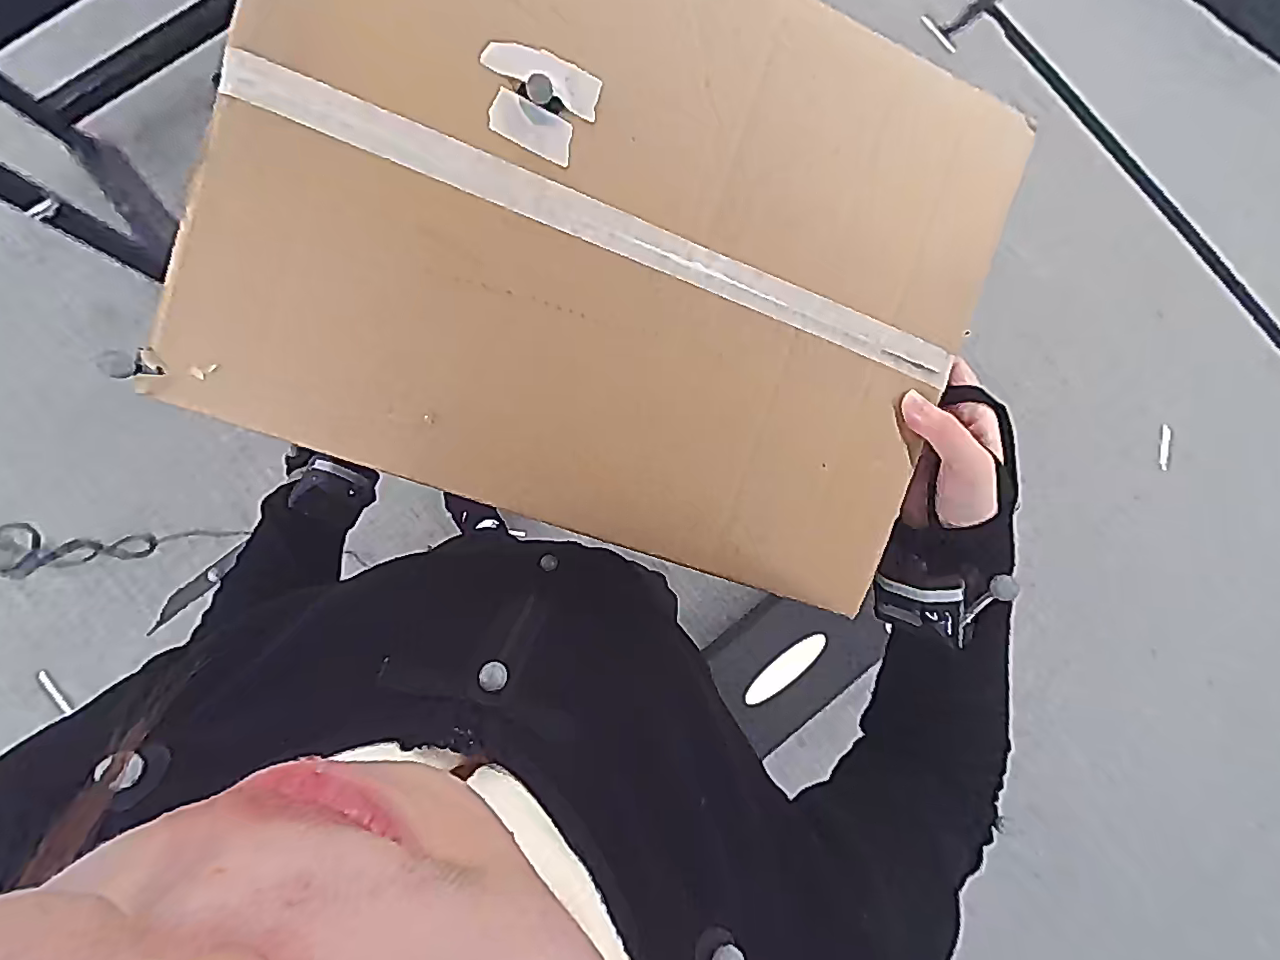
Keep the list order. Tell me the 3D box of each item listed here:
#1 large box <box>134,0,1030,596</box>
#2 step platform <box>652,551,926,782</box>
[{"bbox_3d":[-0.031,-0.145,0.427,0.408,0.320,0.320,18,93,-9],"label":"large box"},{"bbox_3d":[0.373,0.450,1.392,0.684,0.204,0.286,-32,87,-6],"label":"step platform"}]
